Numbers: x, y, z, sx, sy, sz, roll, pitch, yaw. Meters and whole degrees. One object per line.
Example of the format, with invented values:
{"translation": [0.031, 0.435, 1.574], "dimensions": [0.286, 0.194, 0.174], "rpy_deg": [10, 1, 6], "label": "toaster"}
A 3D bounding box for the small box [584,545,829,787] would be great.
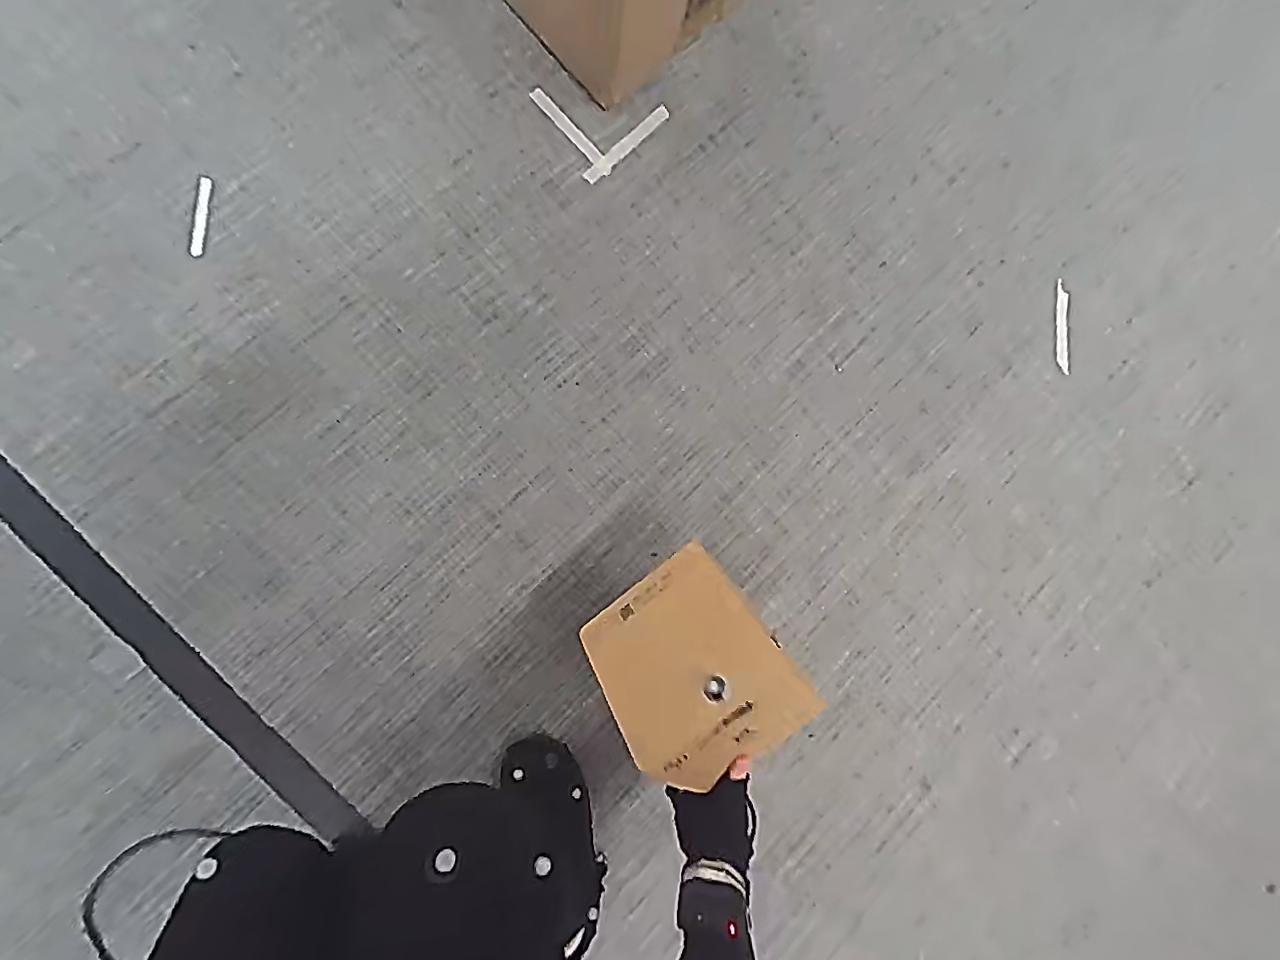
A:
{"translation": [0.070, 0.199, 0.582], "dimensions": [0.168, 0.179, 0.176], "rpy_deg": [-39, 49, 4], "label": "small box"}
